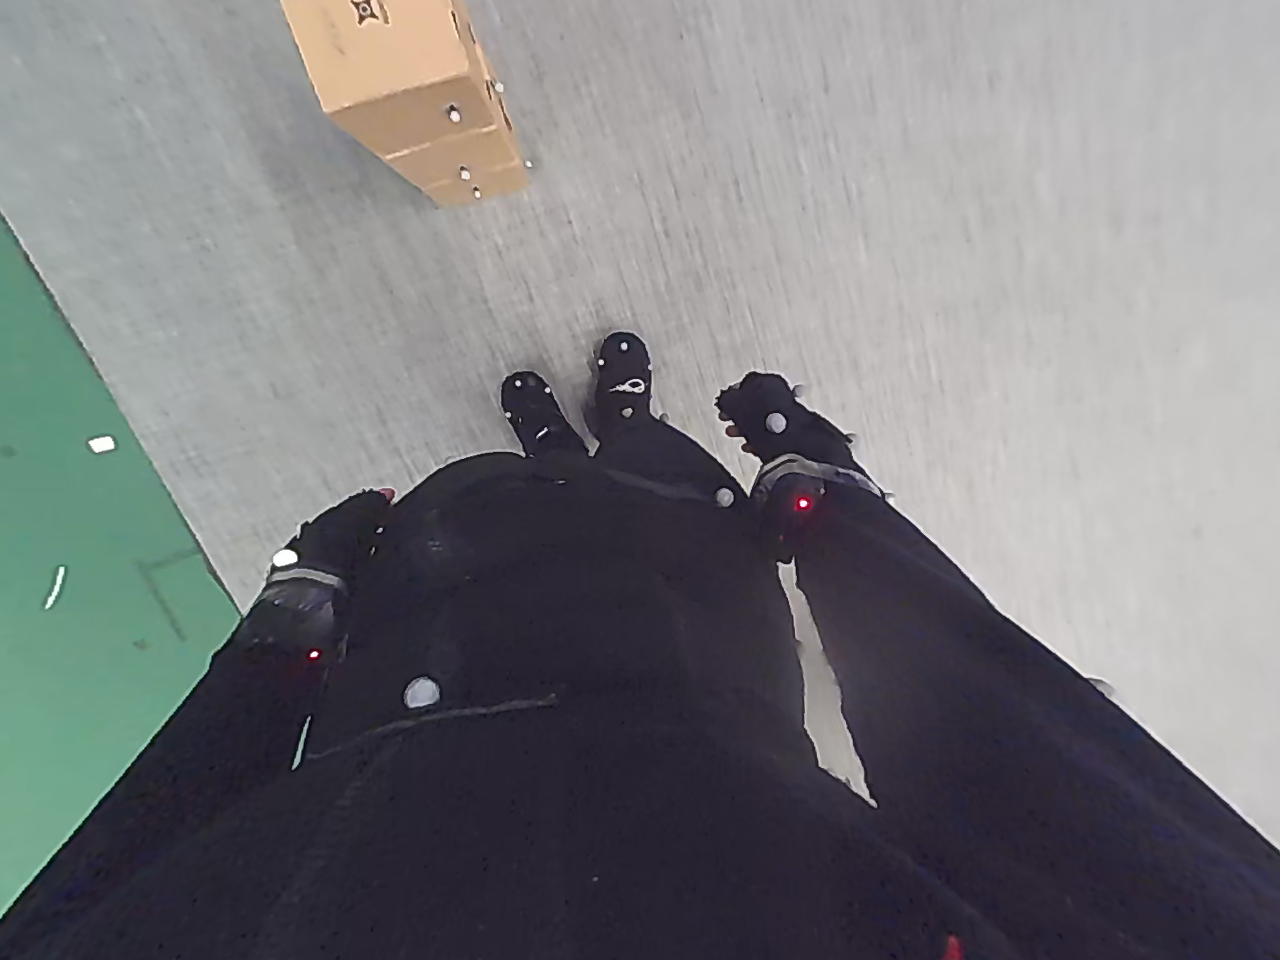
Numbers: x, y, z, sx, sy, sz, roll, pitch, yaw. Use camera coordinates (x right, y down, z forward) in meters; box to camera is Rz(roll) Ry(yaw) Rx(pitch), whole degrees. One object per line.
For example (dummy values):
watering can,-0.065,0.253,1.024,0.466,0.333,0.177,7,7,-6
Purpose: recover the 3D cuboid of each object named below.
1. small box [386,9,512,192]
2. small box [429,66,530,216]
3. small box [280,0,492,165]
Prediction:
small box,-0.304,-0.563,0.826,0.179,0.176,0.168,-15,107,0
small box,-0.309,-0.604,0.985,0.179,0.176,0.168,-18,107,0
small box,-0.297,-0.521,0.670,0.179,0.176,0.168,-17,106,2
